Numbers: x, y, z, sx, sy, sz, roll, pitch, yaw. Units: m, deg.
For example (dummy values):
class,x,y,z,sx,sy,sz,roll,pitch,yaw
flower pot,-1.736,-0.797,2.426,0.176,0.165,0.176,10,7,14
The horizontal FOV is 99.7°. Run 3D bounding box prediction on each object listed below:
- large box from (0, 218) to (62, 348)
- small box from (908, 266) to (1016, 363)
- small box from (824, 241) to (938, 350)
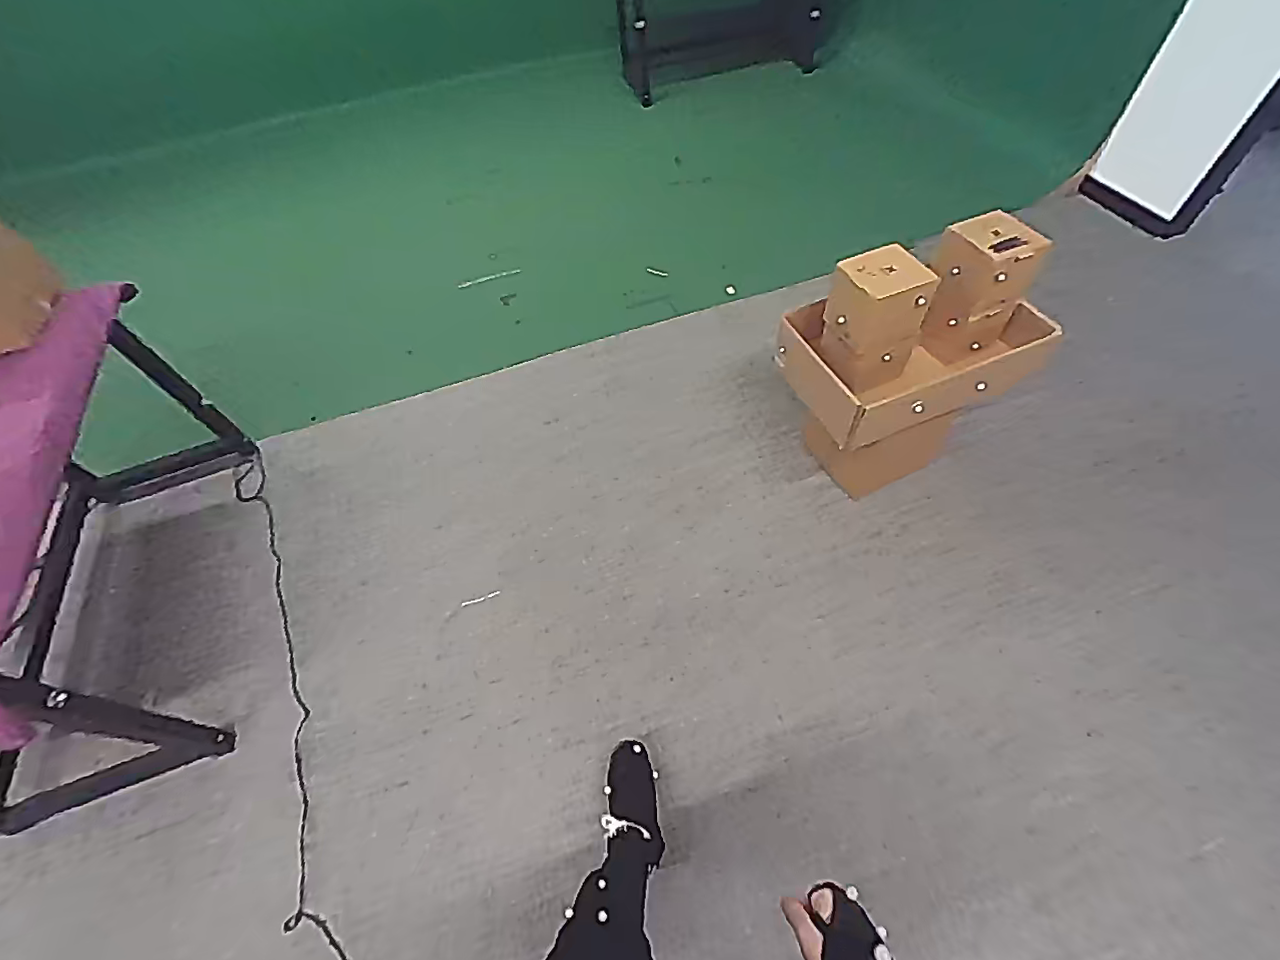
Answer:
class,x,y,z,sx,sy,sz,roll,pitch,yaw
large box,-1.833,-0.504,1.348,0.408,0.320,0.320,-17,58,-7
small box,0.892,-0.464,1.526,0.168,0.176,0.179,-23,58,-12
small box,0.586,-0.454,1.342,0.179,0.176,0.168,-20,56,-9
